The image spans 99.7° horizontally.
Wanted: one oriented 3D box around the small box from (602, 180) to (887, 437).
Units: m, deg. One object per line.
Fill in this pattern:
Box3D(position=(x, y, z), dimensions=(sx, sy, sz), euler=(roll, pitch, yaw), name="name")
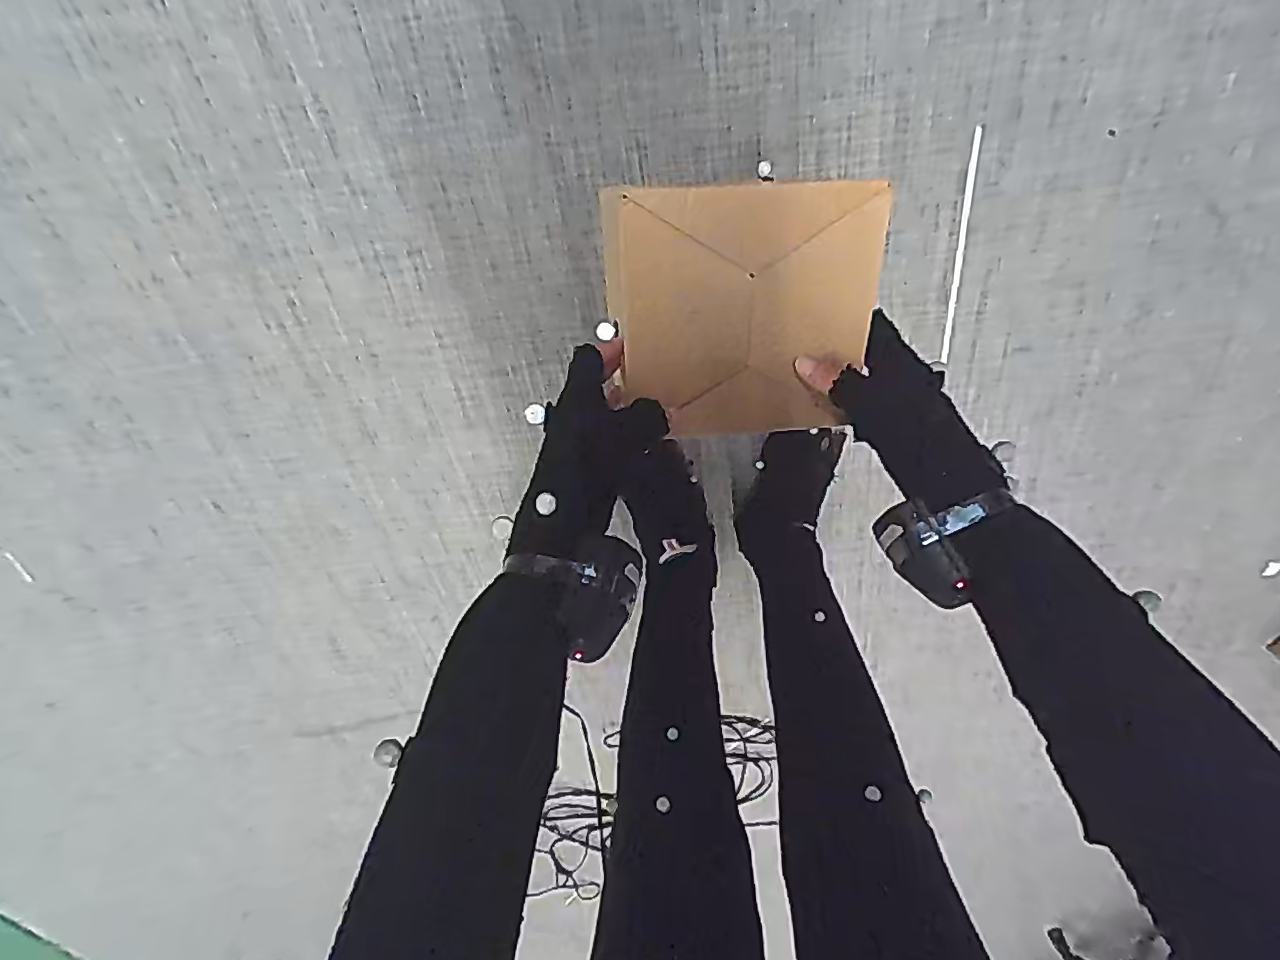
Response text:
Box3D(position=(0.065, -0.143, 0.436), dimensions=(0.179, 0.176, 0.168), euler=(-4, 118, -3), name="small box")
